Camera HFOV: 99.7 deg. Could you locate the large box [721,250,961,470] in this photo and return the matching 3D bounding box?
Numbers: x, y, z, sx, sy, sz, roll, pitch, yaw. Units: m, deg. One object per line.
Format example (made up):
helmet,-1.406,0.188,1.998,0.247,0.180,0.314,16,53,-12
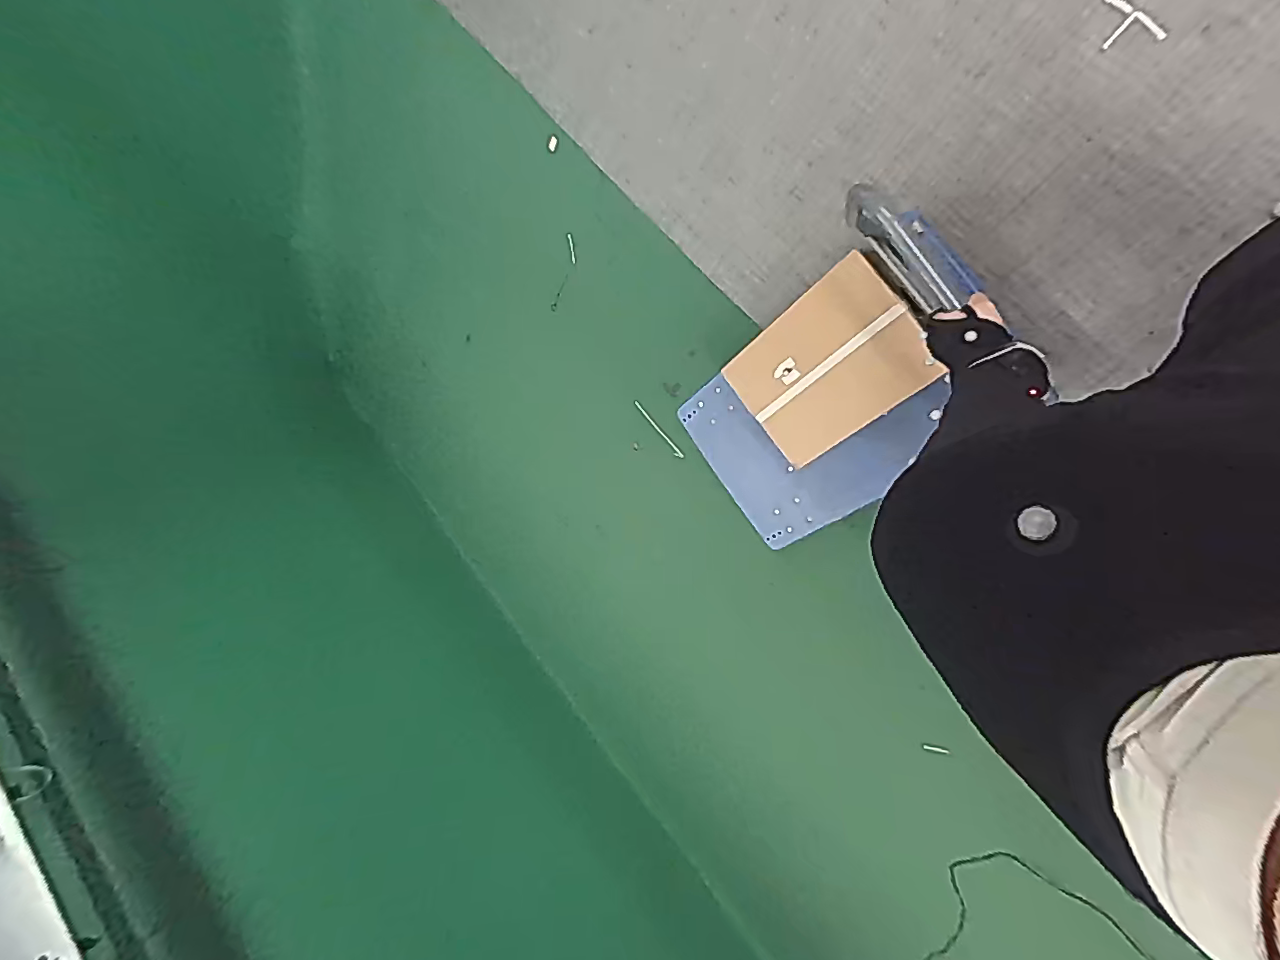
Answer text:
large box,0.485,-0.294,1.314,0.320,0.320,0.408,54,130,6
